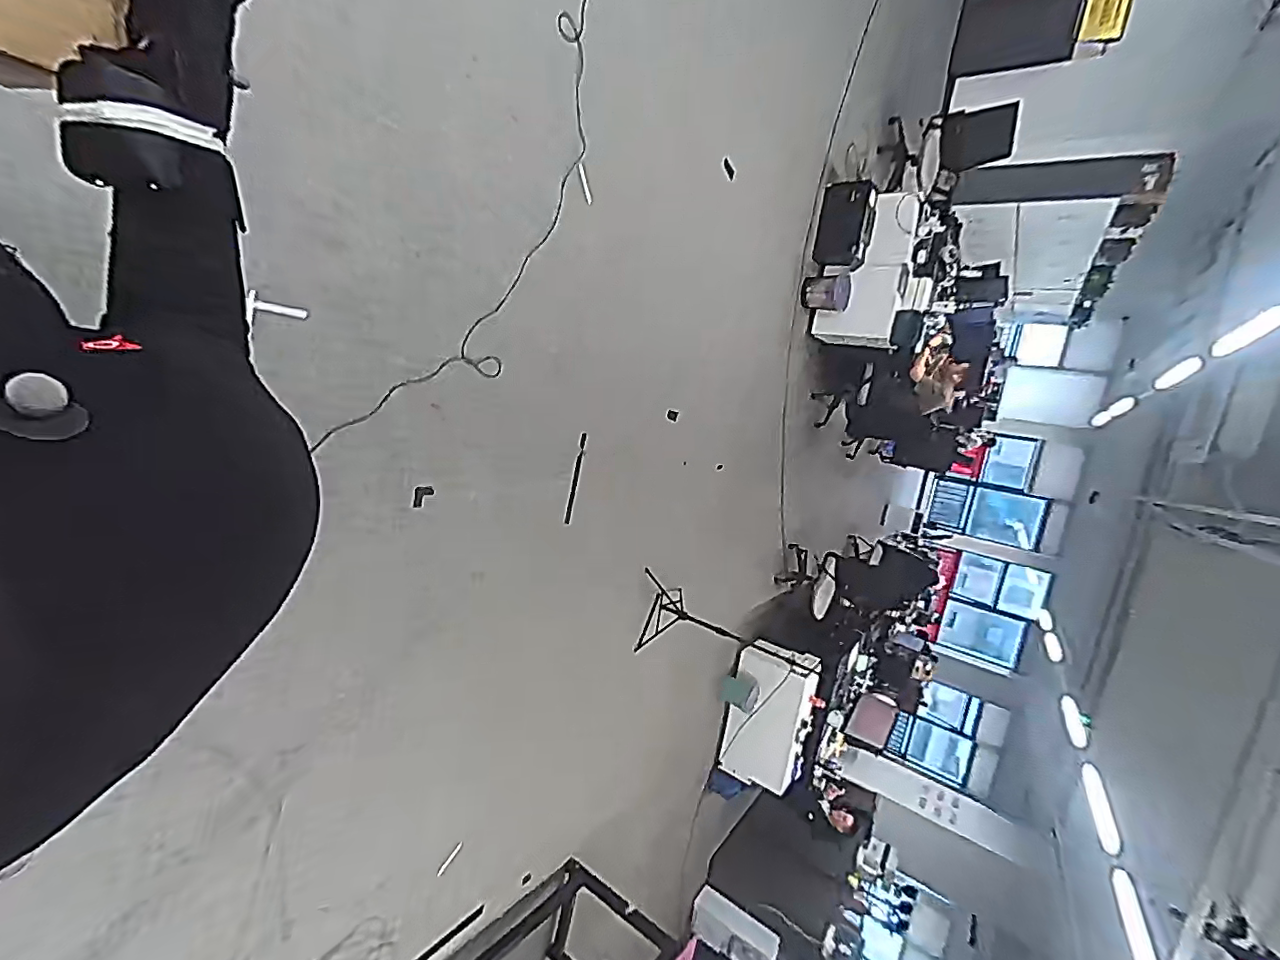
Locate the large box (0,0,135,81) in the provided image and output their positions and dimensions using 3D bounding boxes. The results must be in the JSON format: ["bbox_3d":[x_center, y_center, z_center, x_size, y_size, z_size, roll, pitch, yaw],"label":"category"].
[{"bbox_3d":[-0.536,-0.433,0.225,0.408,0.320,0.320,-14,124,-57],"label":"large box"}]
